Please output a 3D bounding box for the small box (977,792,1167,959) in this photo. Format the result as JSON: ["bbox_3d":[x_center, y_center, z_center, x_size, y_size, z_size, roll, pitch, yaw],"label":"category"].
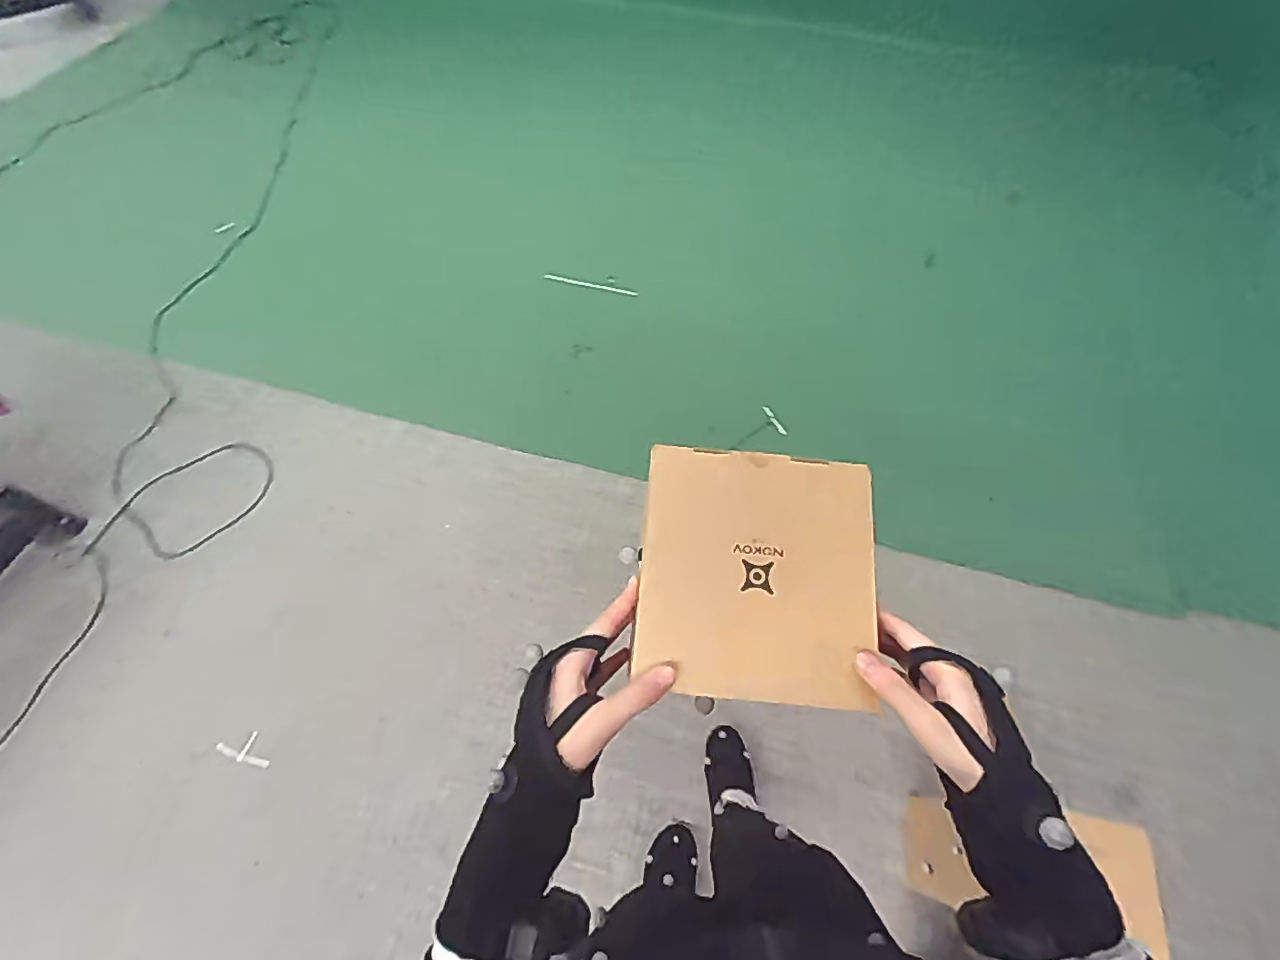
[{"bbox_3d":[0.658,0.611,0.848,0.168,0.176,0.179,14,60,8],"label":"small box"}]

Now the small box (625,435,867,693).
[{"bbox_3d":[0.077,0.077,0.463,0.168,0.176,0.179,4,72,0],"label":"small box"}]
